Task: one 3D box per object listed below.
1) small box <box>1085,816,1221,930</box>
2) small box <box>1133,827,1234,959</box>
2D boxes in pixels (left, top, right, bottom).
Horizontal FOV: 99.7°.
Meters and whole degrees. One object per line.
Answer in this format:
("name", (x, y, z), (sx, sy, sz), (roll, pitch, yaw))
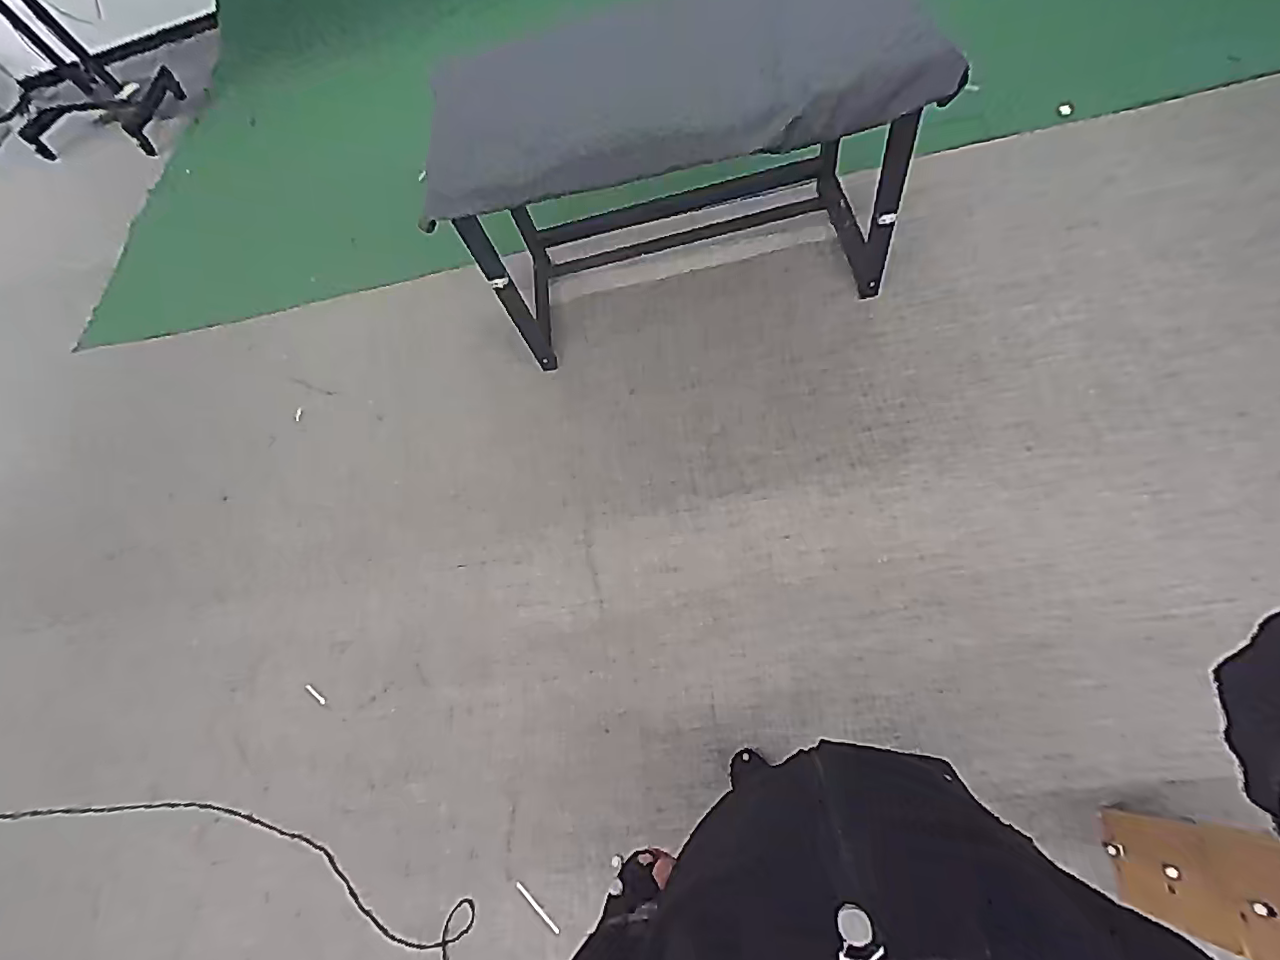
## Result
("small box", (1.022, 0.766, 1.050), (0.179, 0.176, 0.168), (1, 64, 13))
("small box", (0.992, 0.697, 0.904), (0.179, 0.176, 0.168), (3, 64, 13))
